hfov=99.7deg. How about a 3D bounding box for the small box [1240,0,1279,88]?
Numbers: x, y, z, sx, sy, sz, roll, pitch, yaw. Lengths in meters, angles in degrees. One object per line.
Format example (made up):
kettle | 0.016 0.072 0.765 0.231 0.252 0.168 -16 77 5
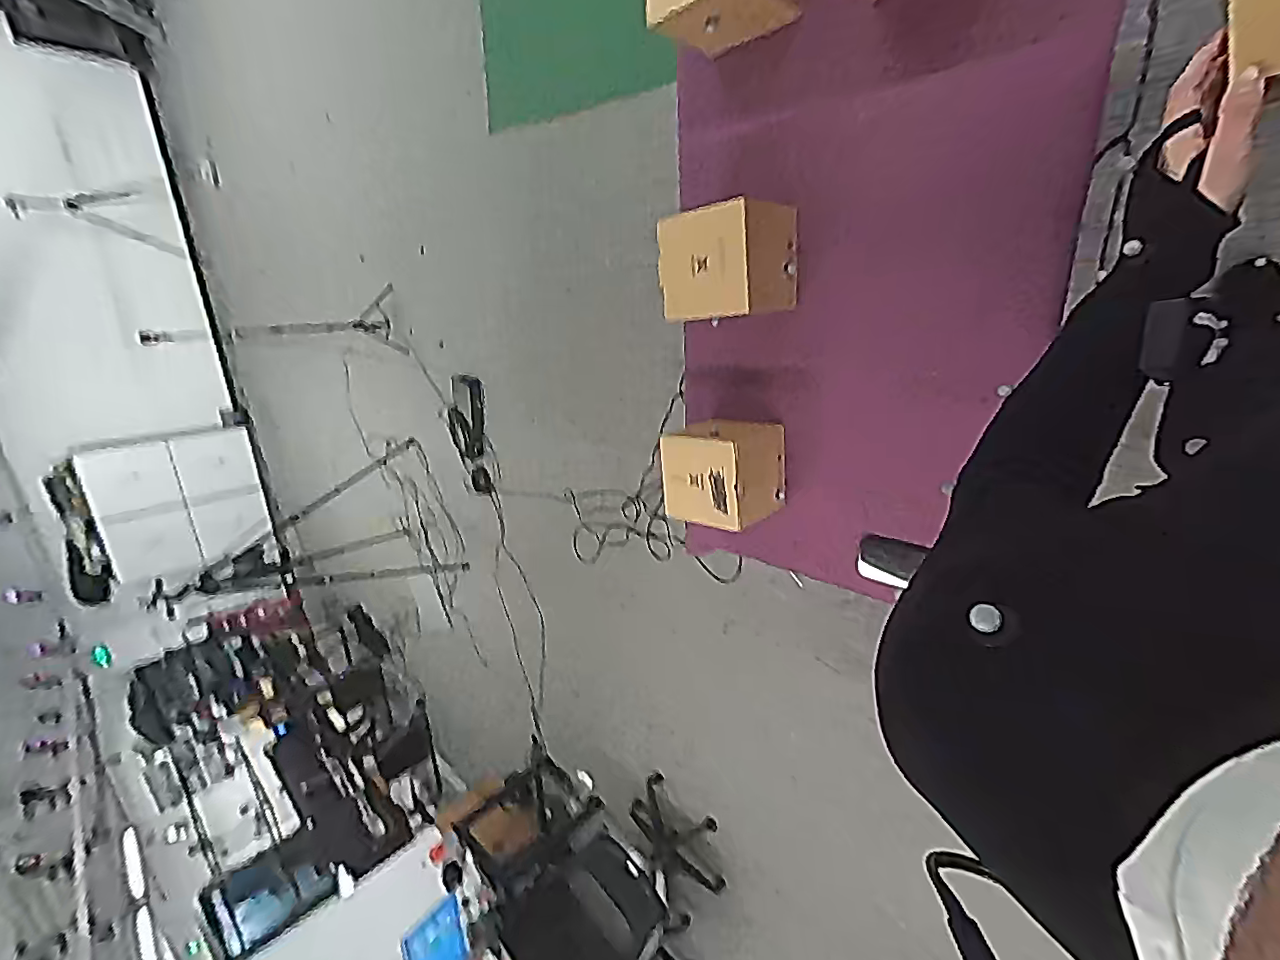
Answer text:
small box | 0.550 -0.412 0.378 0.168 0.176 0.179 3 114 52

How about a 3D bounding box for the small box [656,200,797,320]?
small box | 0.151 -0.368 0.930 0.179 0.176 0.168 9 112 42

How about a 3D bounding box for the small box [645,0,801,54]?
small box | 0.122 -0.777 0.805 0.179 0.176 0.168 12 113 42

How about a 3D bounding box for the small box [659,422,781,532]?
small box | 0.160 -0.015 1.046 0.179 0.176 0.168 9 111 43
